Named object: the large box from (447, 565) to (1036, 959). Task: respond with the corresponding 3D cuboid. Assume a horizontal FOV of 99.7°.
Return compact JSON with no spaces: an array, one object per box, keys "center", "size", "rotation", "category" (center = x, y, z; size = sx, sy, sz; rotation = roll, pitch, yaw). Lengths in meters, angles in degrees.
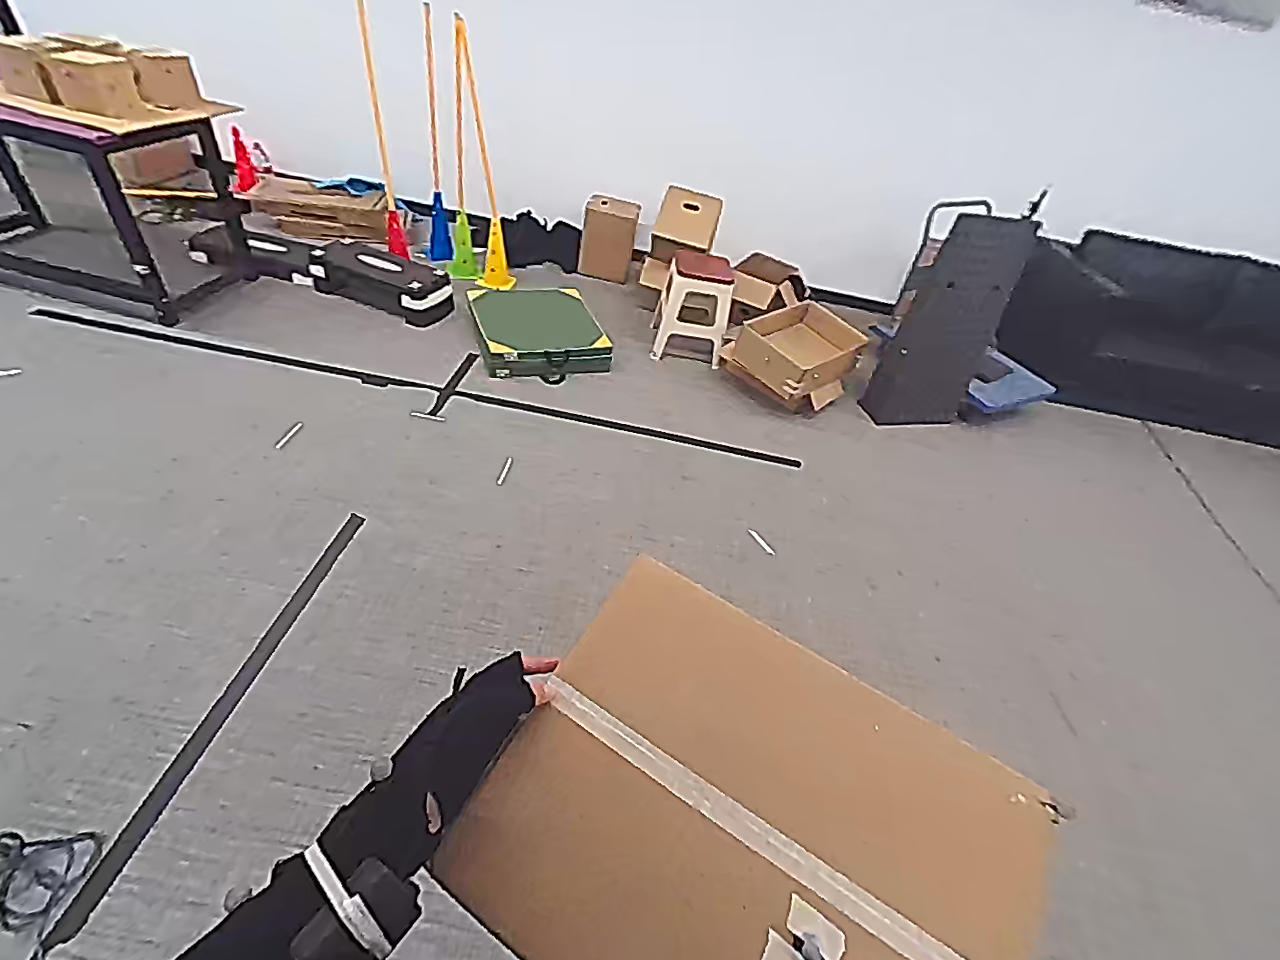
[{"center":[0.086,0.362,0.565],"size":[0.408,0.320,0.320],"rotation":[29,60,16],"category":"large box"}]
